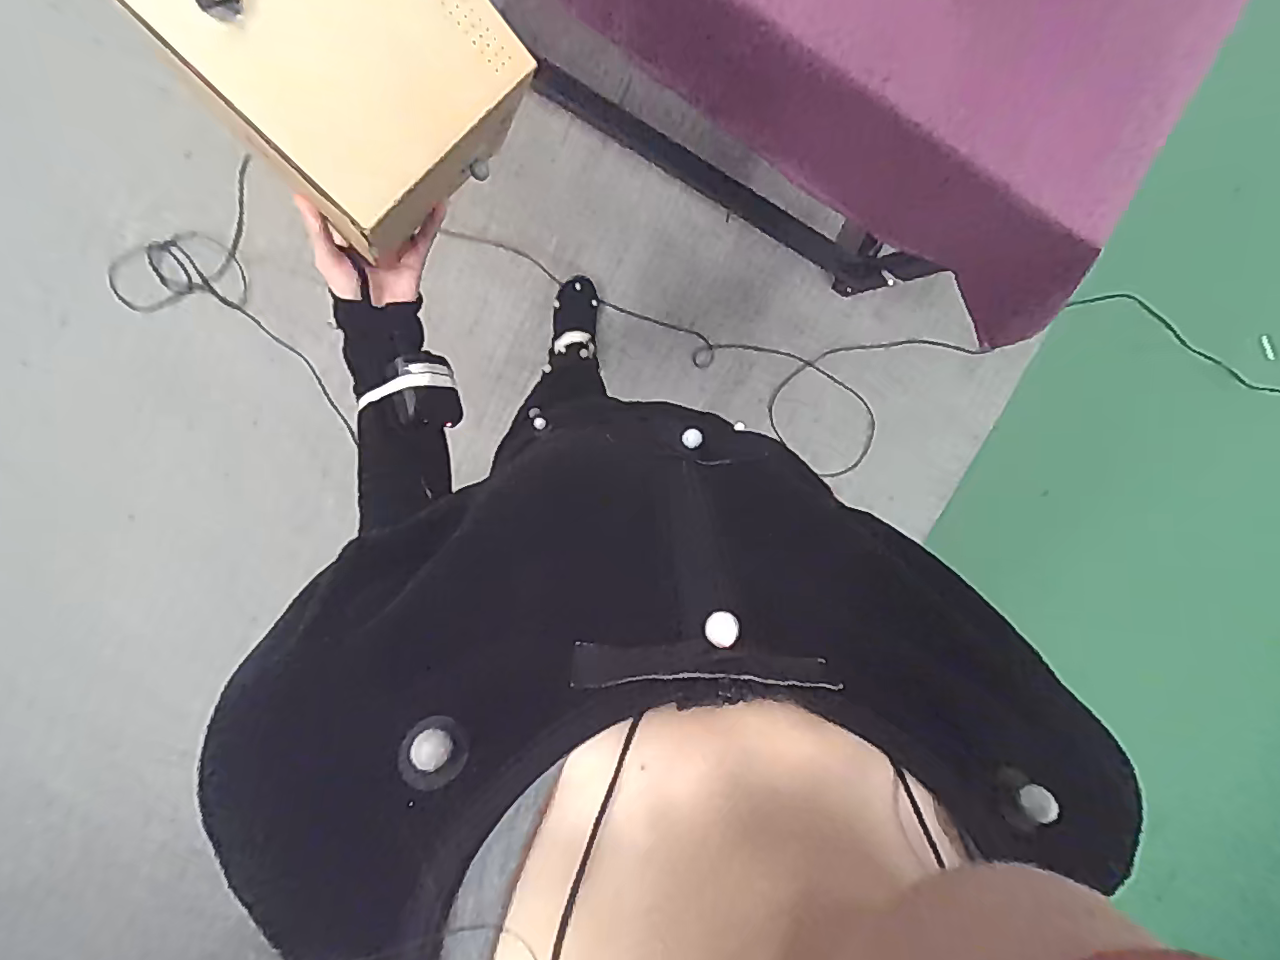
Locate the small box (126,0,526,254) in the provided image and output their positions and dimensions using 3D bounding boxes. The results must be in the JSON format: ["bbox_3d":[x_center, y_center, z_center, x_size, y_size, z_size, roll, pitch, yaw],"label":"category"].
[{"bbox_3d":[-0.217,-0.301,0.396,0.176,0.168,0.179,-46,119,-8],"label":"small box"}]
